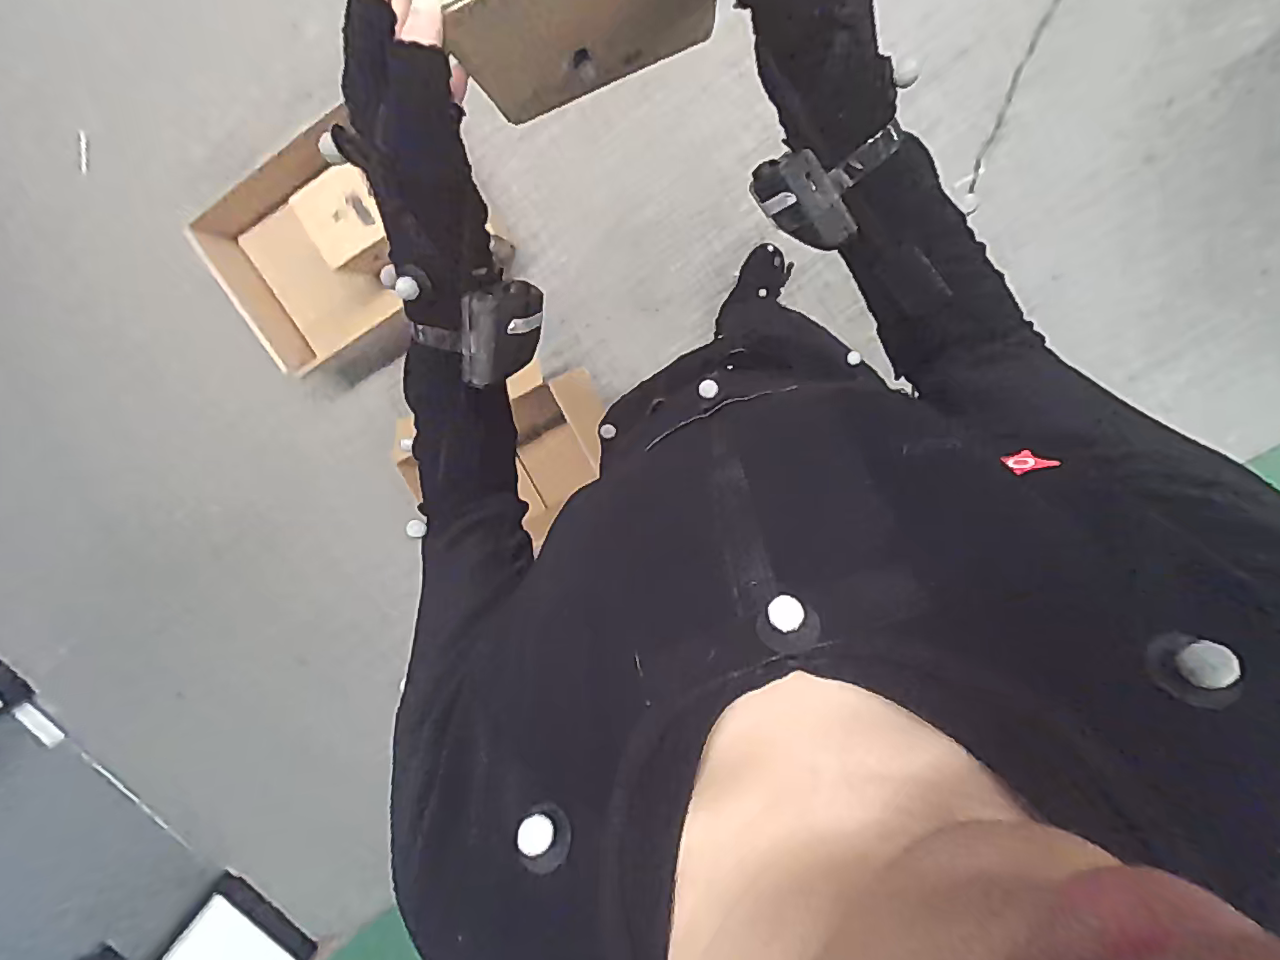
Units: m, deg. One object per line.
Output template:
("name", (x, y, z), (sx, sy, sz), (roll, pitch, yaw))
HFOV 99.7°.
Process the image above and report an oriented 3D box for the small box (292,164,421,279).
("small box", (-0.632, -0.582, 1.239), (0.179, 0.176, 0.168), (-26, 102, 12))
